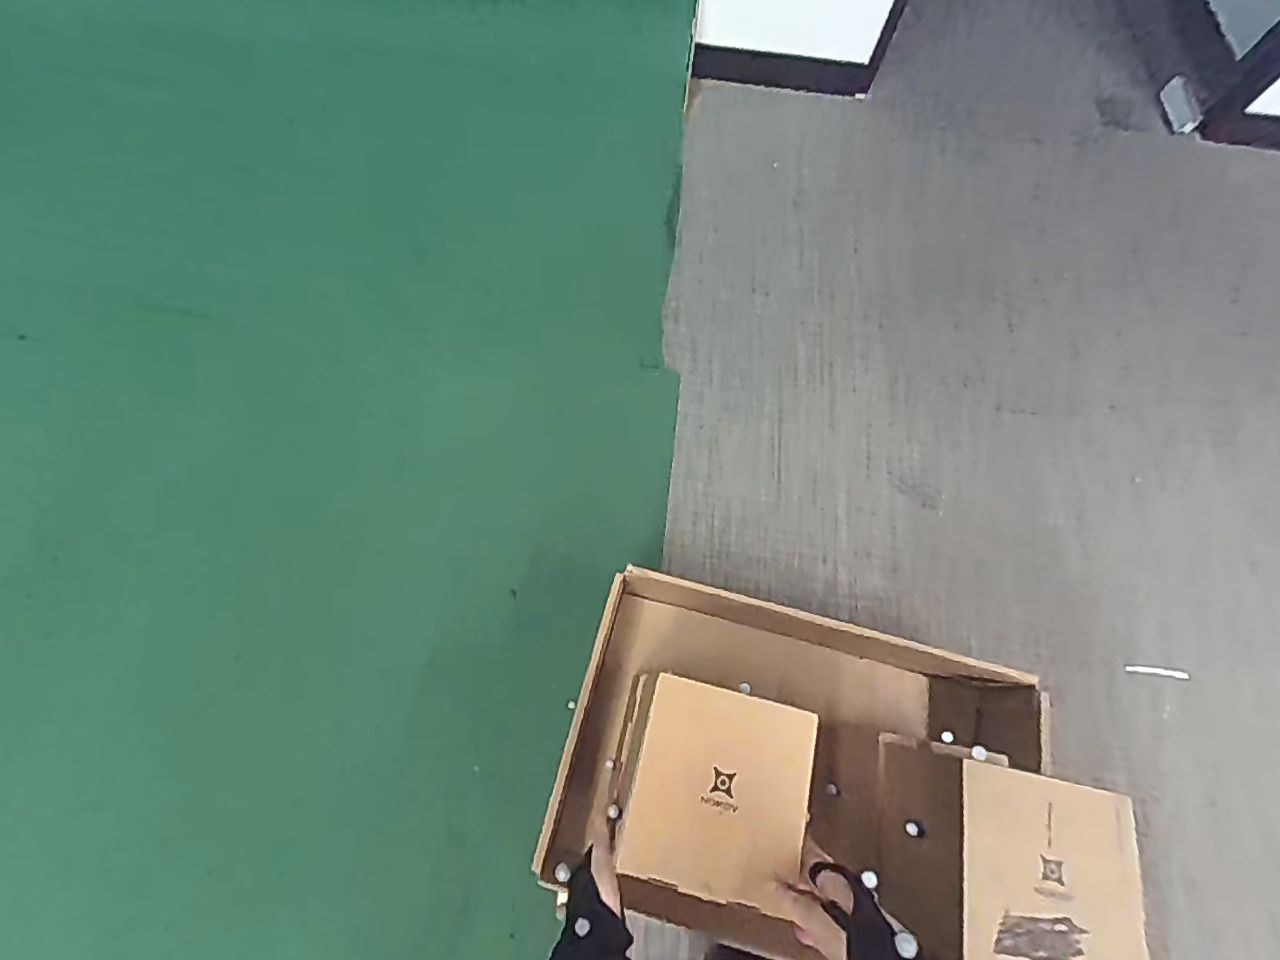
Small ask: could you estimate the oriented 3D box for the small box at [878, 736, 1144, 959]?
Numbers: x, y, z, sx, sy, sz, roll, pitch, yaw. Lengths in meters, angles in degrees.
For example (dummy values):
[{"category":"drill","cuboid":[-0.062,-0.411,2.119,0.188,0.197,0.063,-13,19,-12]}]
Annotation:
[{"category":"small box","cuboid":[0.368,0.384,0.568,0.168,0.176,0.179,12,69,3]}]
